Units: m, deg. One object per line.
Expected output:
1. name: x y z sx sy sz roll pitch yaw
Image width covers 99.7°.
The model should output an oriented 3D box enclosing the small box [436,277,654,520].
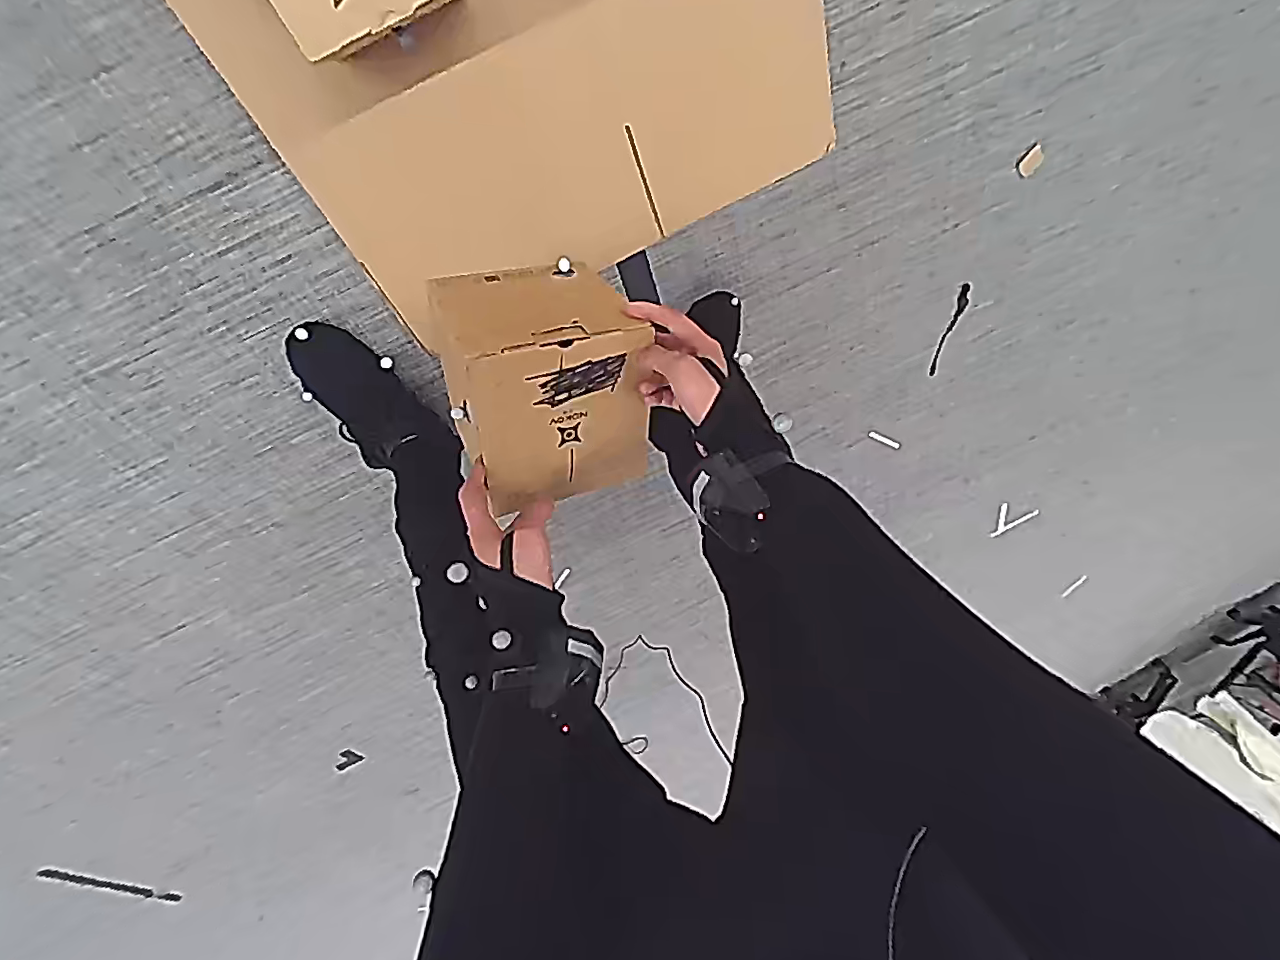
1. small box: -0.098 -0.094 0.553 0.168 0.176 0.179 -16 134 -20
